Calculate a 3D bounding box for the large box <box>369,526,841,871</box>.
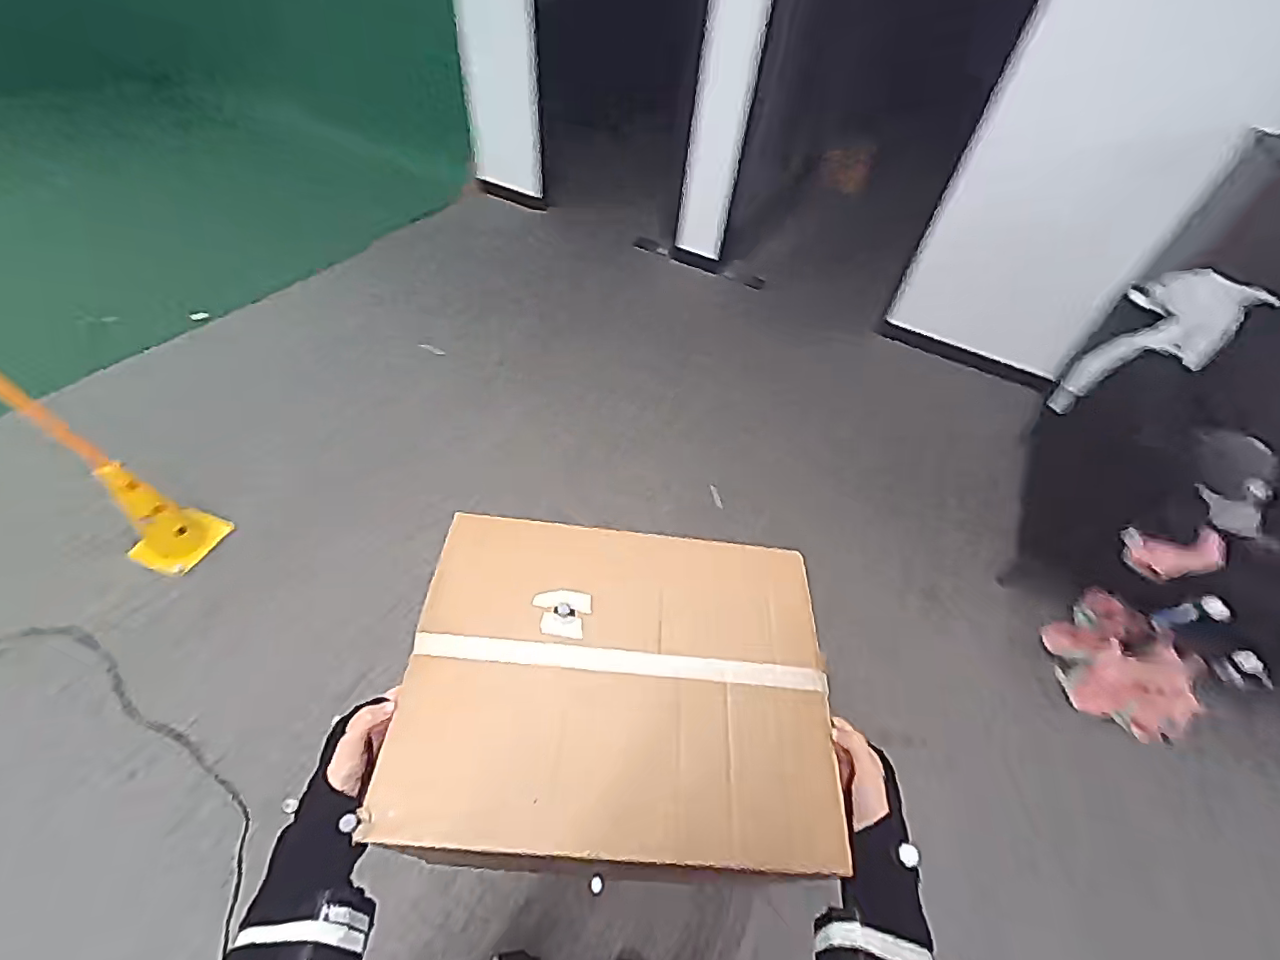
[{"bbox_3d":[-0.033,0.280,0.656,0.408,0.320,0.320,6,52,-4],"label":"large box"}]
